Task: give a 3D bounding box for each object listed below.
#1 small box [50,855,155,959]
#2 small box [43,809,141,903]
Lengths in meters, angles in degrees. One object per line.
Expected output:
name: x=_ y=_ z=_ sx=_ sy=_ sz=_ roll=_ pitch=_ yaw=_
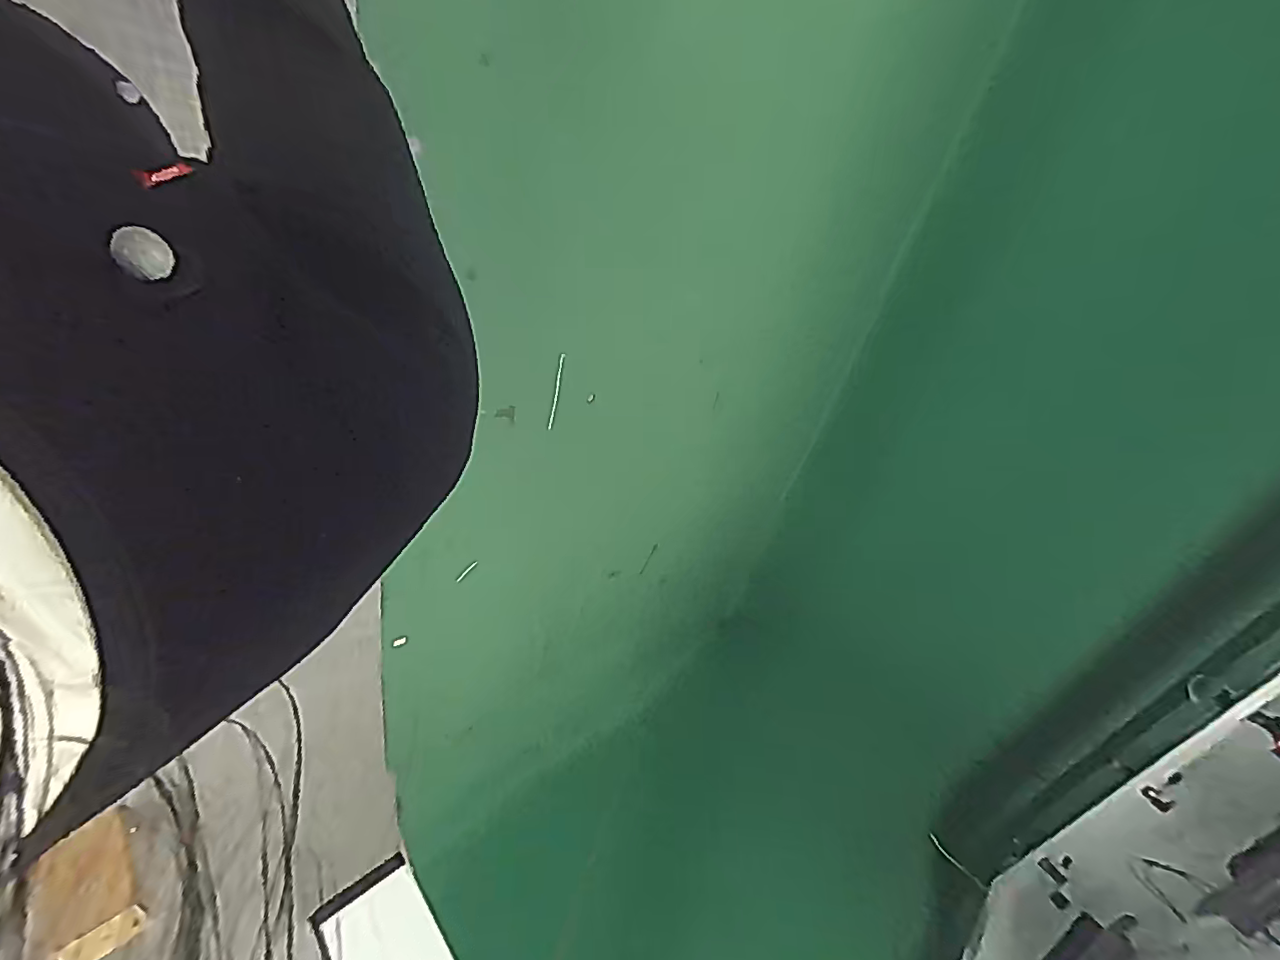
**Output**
small box: x=-1.532 y=1.230 z=1.540 sx=0.179 sy=0.176 sz=0.168 roll=-22 pitch=137 yaw=-40
small box: x=-1.645 y=1.147 z=1.625 sx=0.179 sy=0.176 sz=0.168 roll=-21 pitch=137 yaw=-42
